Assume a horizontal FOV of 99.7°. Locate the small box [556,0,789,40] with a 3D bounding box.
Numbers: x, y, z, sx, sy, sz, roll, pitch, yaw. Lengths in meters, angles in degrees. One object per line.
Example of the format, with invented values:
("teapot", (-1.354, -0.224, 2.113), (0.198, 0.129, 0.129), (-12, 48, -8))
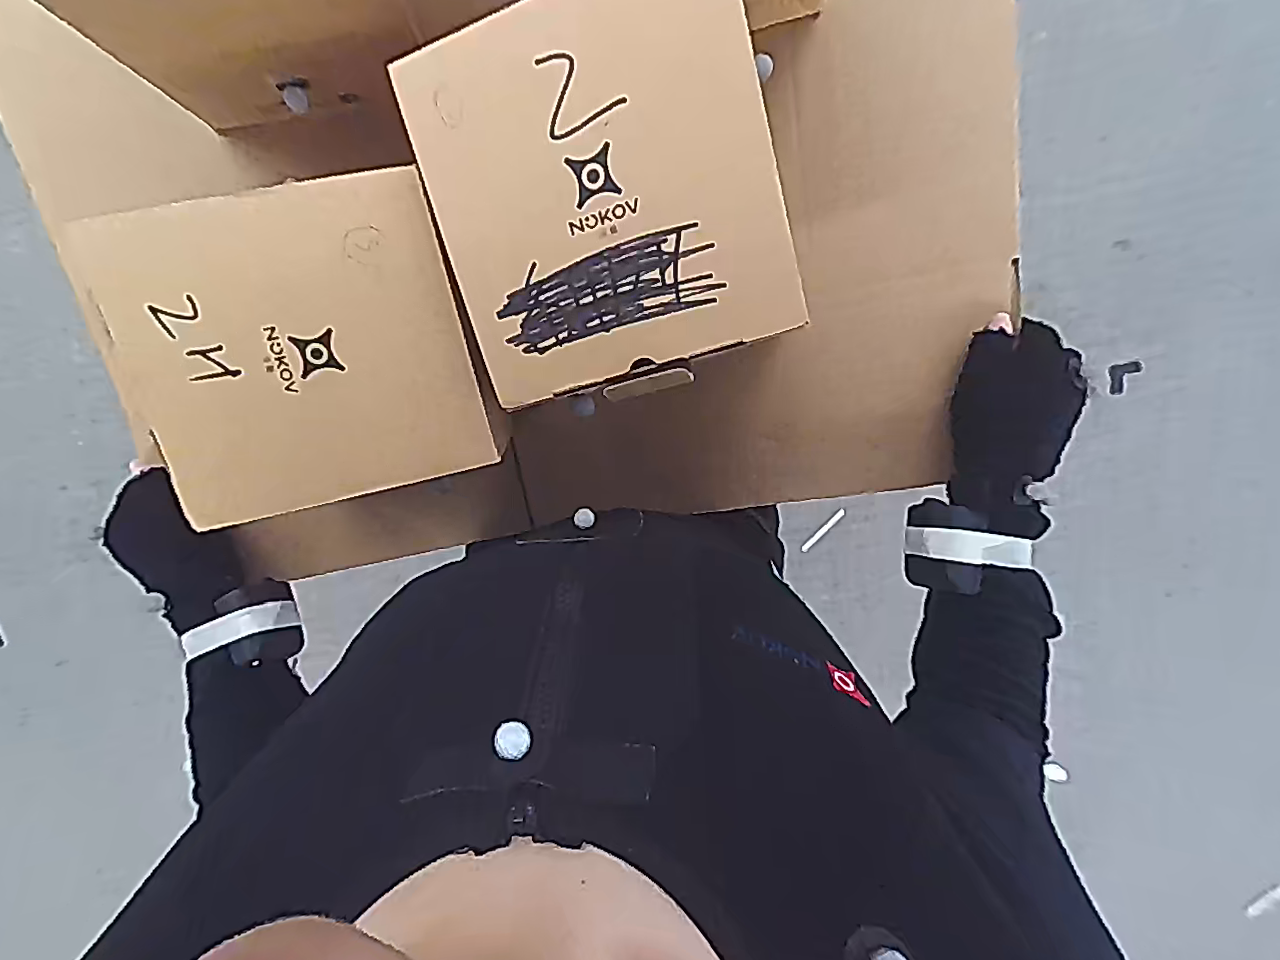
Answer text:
("small box", (0.011, -0.372, 0.278), (0.168, 0.176, 0.179), (-5, 103, 12))
